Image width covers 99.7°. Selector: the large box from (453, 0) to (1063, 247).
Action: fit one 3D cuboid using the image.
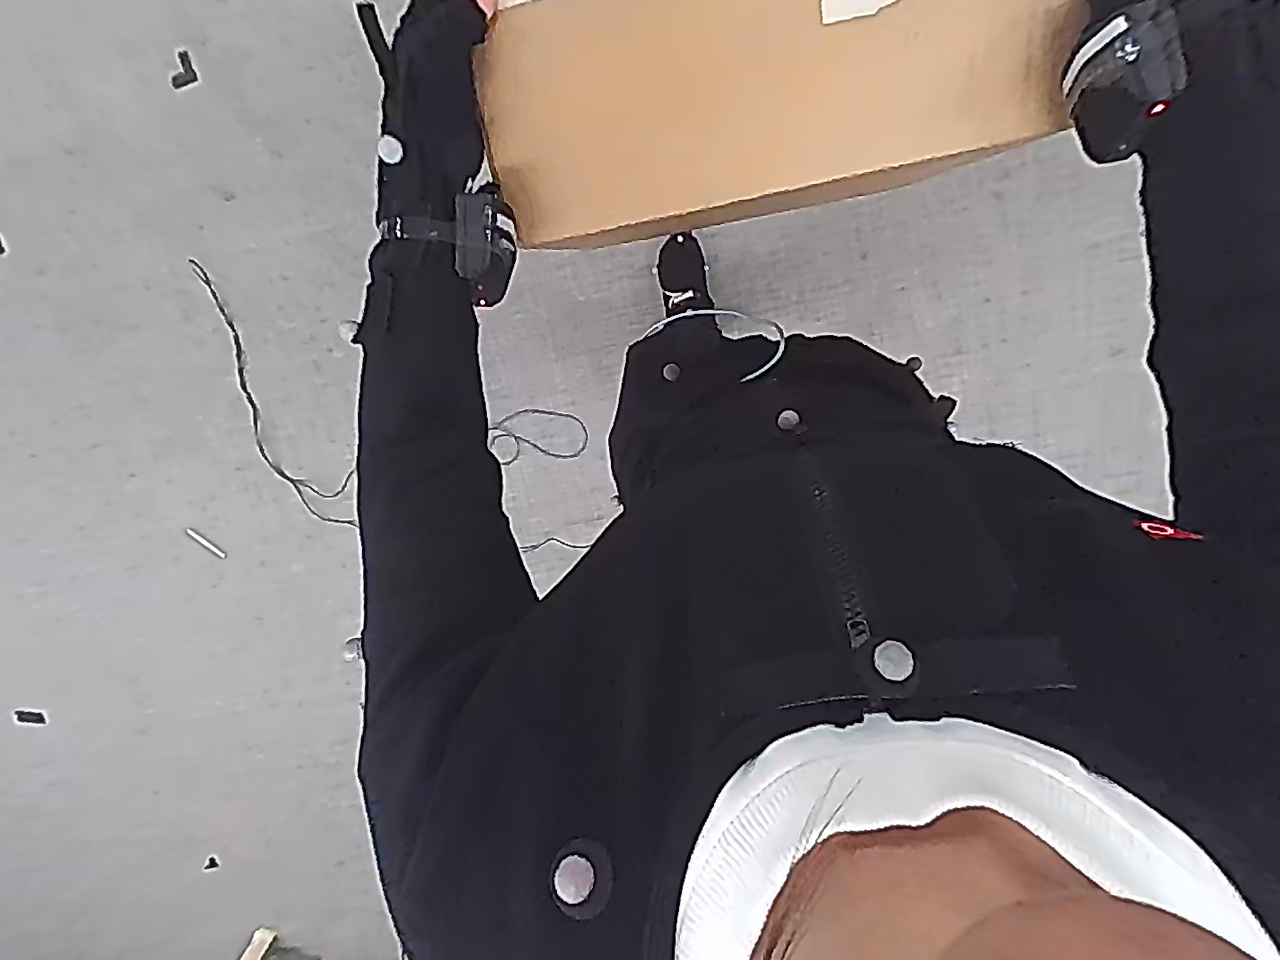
[{"bbox_3d":[0.073,-0.419,0.485,0.408,0.320,0.320,-9,112,9],"label":"large box"}]
